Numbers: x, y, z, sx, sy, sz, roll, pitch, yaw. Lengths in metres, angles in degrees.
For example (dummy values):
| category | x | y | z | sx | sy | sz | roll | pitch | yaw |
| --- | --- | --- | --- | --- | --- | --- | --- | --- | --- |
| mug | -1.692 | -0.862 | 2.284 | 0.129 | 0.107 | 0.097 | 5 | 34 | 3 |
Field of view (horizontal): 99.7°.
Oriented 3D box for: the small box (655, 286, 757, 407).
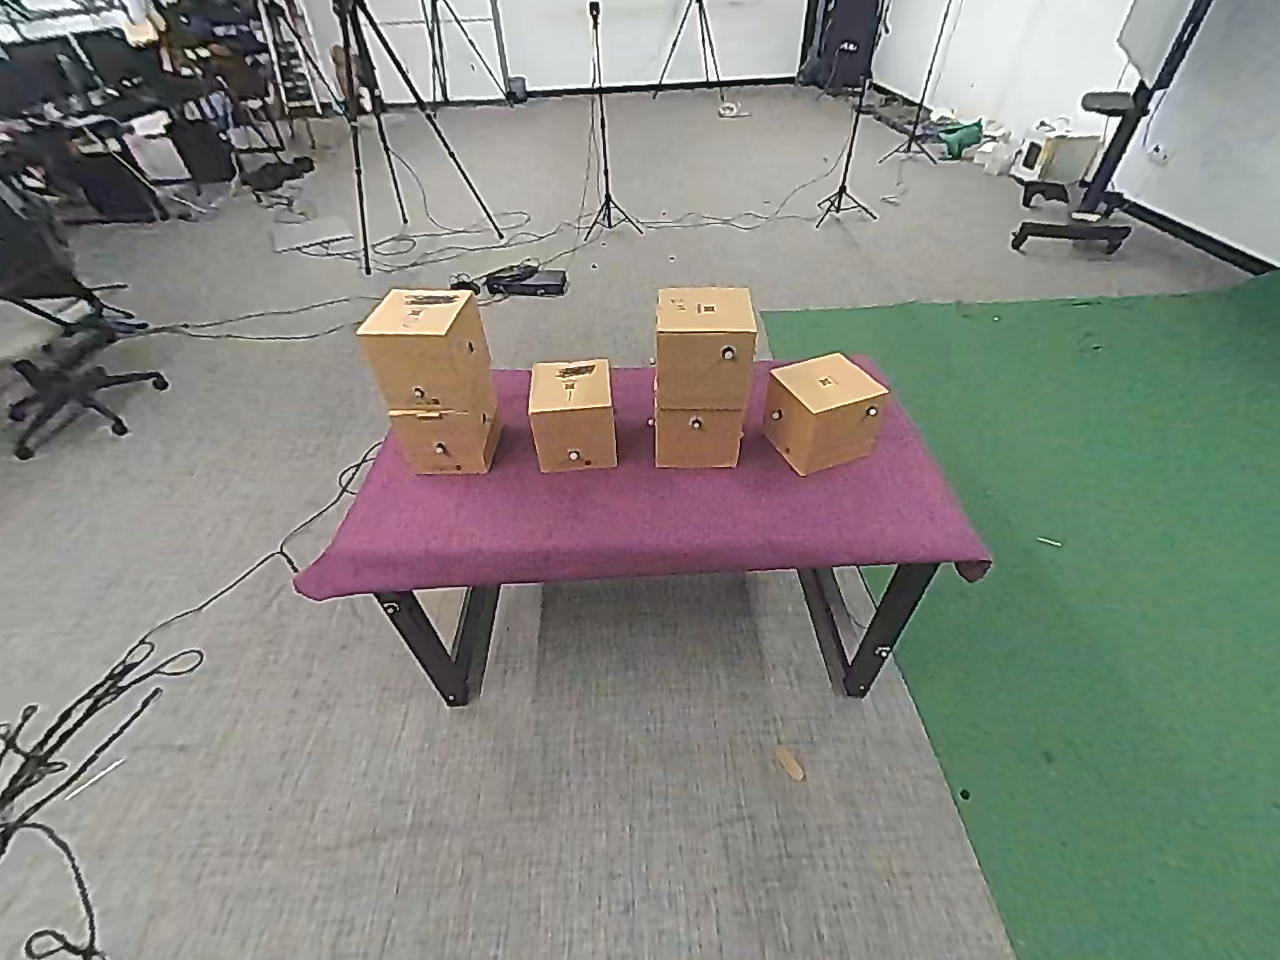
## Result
| category | x | y | z | sx | sy | sz | roll | pitch | yaw |
| --- | --- | --- | --- | --- | --- | --- | --- | --- | --- |
| small box | 0.120 | -0.252 | 1.032 | 0.179 | 0.176 | 0.168 | 1 | 44 | 4 |

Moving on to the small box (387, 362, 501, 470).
| category | x | y | z | sx | sy | sz | roll | pitch | yaw |
| --- | --- | --- | --- | --- | --- | --- | --- | --- | --- |
| small box | -0.409 | -0.135 | 1.165 | 0.168 | 0.176 | 0.179 | 0 | 45 | 1 |

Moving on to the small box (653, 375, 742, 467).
| category | x | y | z | sx | sy | sz | roll | pitch | yaw |
| --- | --- | --- | --- | --- | --- | --- | --- | --- | --- |
| small box | 0.119 | -0.140 | 1.153 | 0.179 | 0.176 | 0.168 | 1 | 45 | 3 |

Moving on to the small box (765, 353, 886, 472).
| category | x | y | z | sx | sy | sz | roll | pitch | yaw |
| --- | --- | --- | --- | --- | --- | --- | --- | --- | --- |
| small box | 0.378 | -0.140 | 1.142 | 0.179 | 0.176 | 0.168 | -16 | 45 | -14 |

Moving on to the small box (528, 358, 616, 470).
| category | x | y | z | sx | sy | sz | roll | pitch | yaw |
| --- | --- | --- | --- | --- | --- | --- | --- | --- | --- |
| small box | -0.140 | -0.142 | 1.161 | 0.168 | 0.176 | 0.179 | -5 | 45 | -2 |
